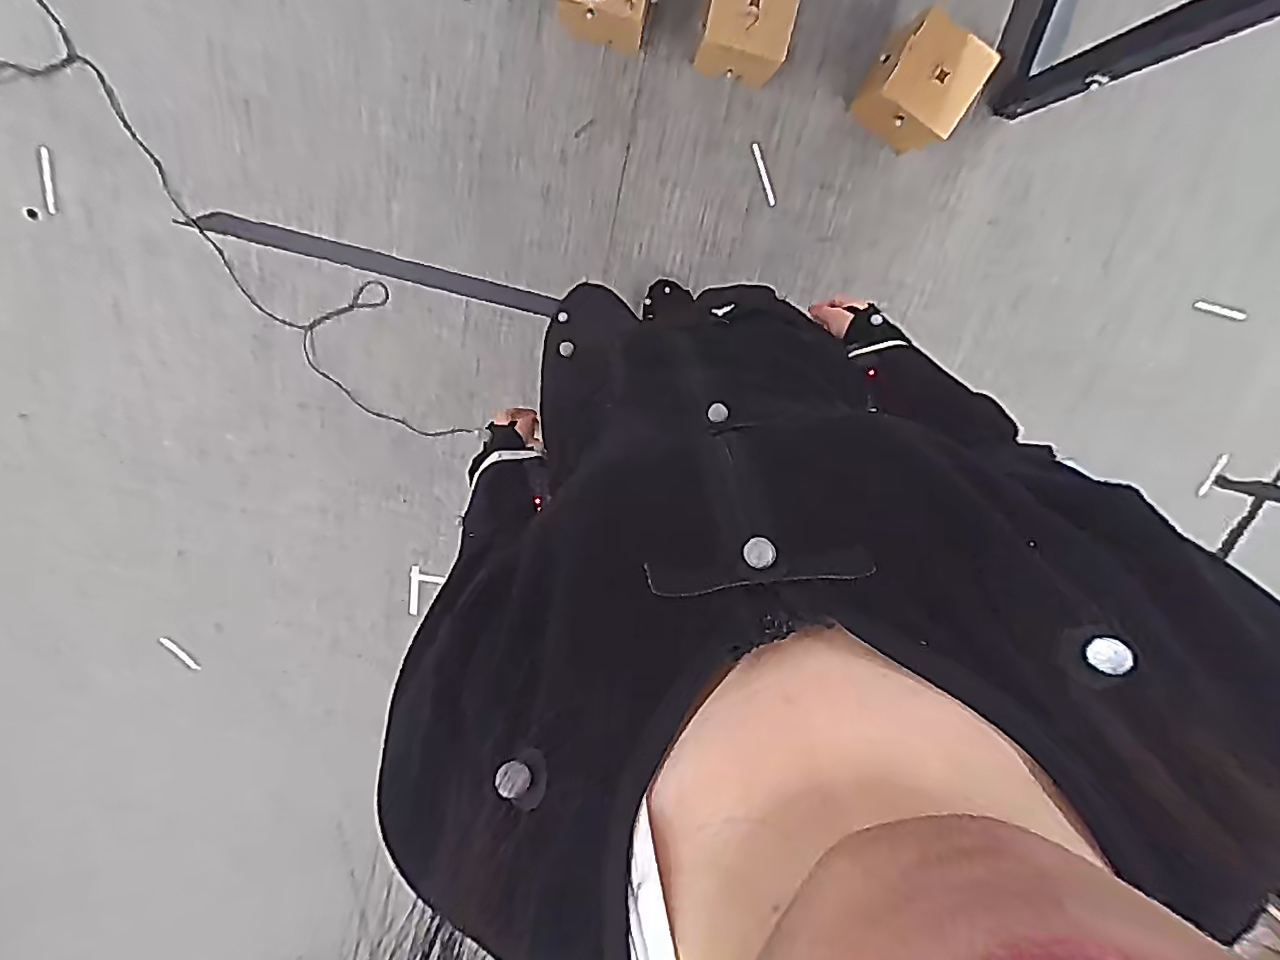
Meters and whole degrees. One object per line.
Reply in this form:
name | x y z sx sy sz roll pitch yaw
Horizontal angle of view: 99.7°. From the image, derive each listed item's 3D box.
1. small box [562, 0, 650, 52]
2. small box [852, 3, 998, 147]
small box | -0.058 -0.992 1.056 0.168 0.176 0.179 14 109 -8
small box | 0.591 -0.838 1.144 0.179 0.176 0.168 28 109 -12
